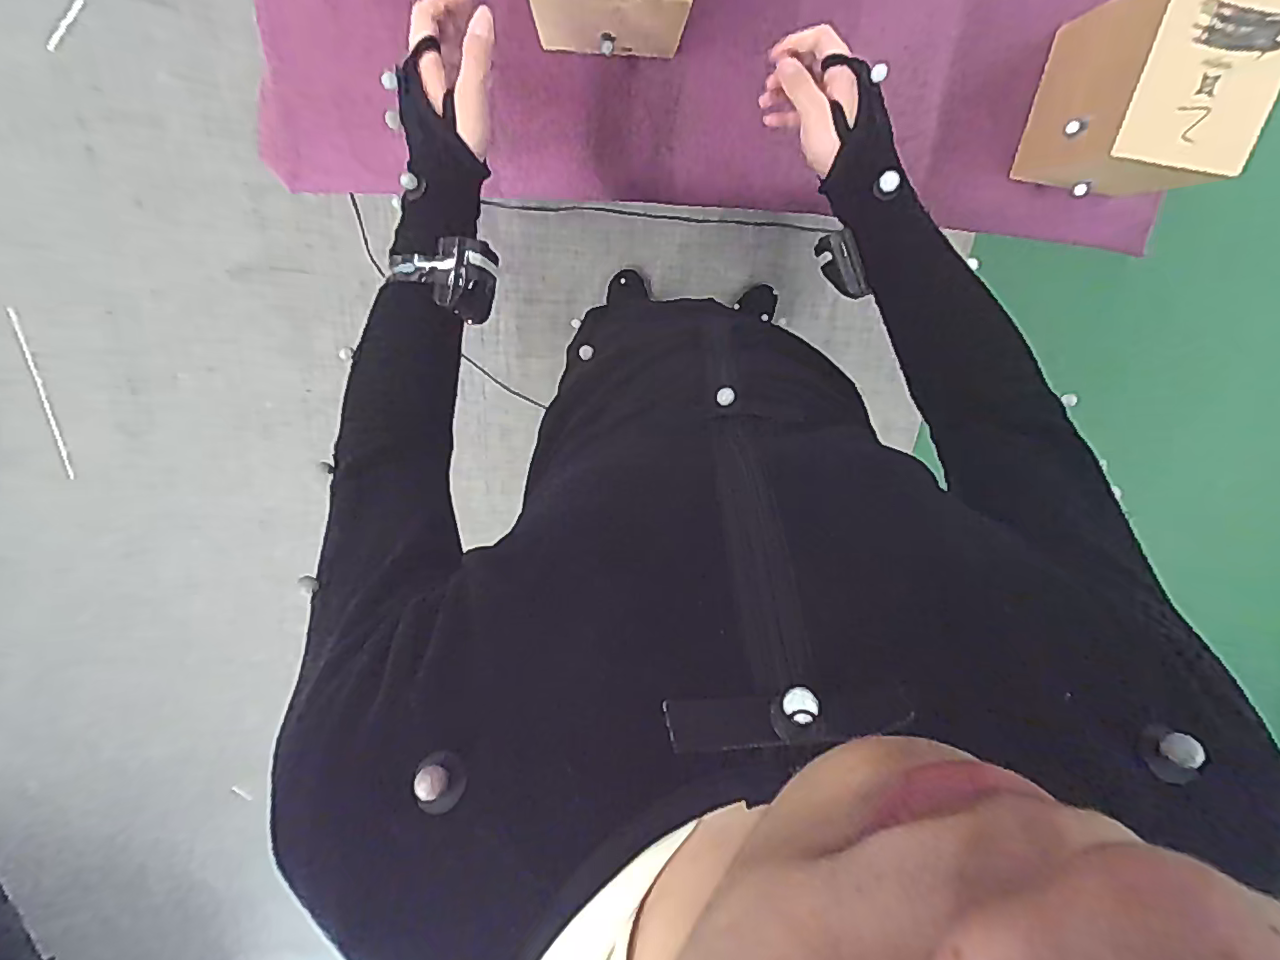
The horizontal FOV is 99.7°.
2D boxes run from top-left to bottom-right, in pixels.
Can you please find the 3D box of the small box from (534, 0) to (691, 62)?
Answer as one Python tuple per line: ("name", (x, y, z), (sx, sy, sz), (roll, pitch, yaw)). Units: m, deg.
("small box", (-0.031, -0.581, 0.571), (0.168, 0.176, 0.179), (1, 112, -4))
